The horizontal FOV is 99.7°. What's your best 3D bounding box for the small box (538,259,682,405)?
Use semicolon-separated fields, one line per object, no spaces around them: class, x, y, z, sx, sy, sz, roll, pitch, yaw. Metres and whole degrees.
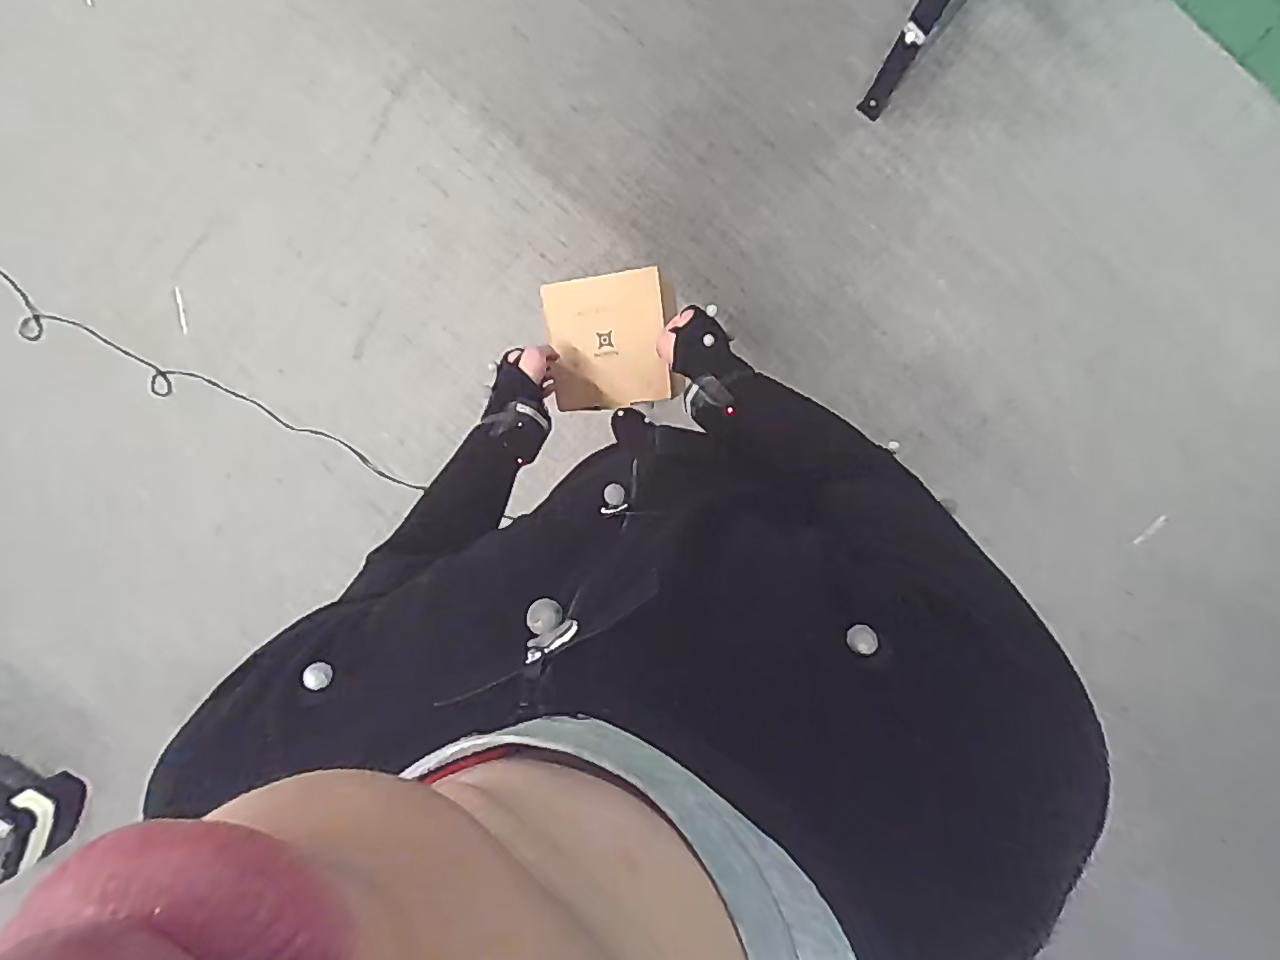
small box;-0.034;-0.214;0.802;0.168;0.176;0.179;-5;102;12
